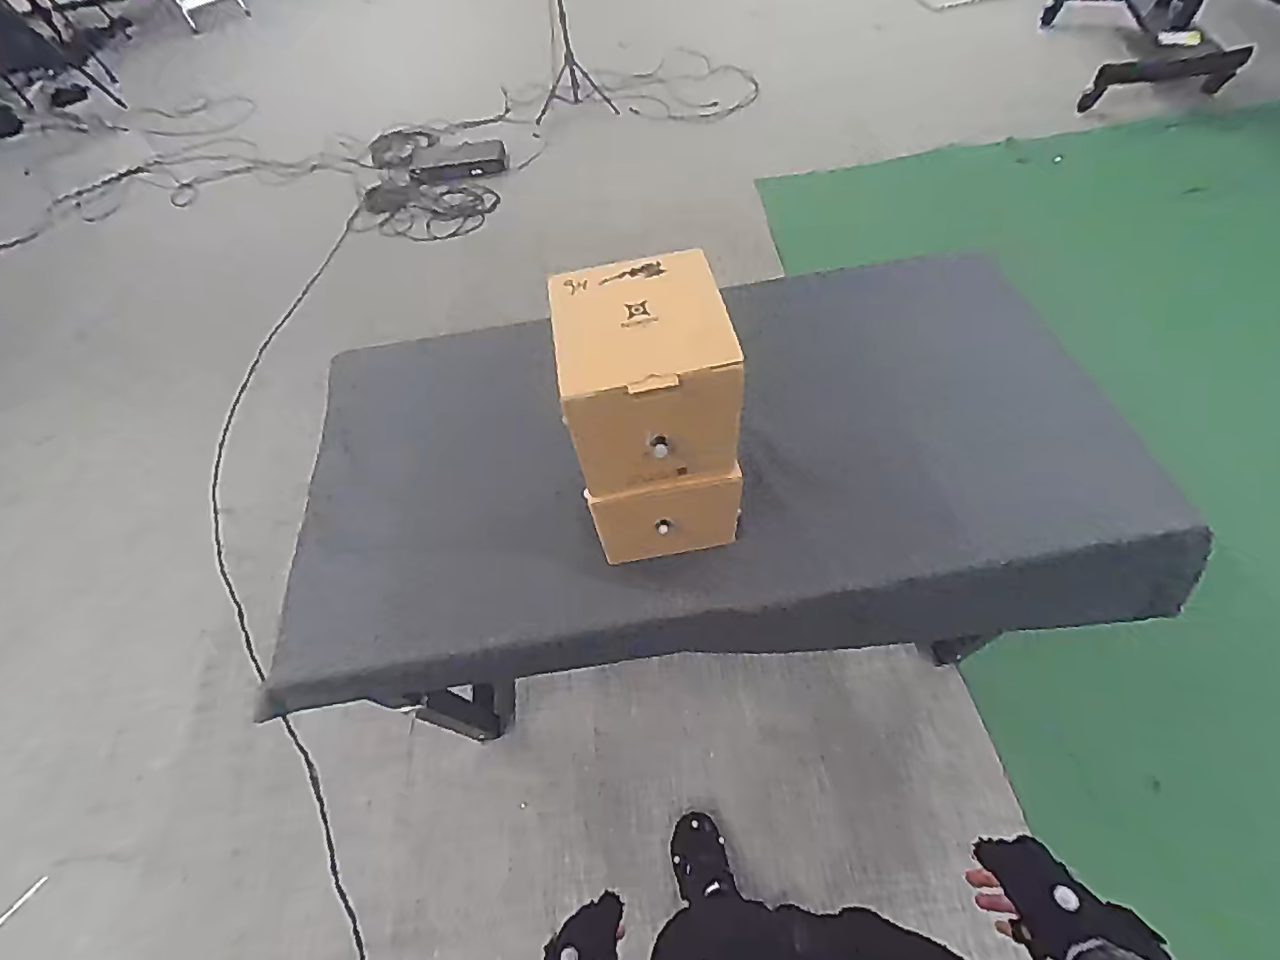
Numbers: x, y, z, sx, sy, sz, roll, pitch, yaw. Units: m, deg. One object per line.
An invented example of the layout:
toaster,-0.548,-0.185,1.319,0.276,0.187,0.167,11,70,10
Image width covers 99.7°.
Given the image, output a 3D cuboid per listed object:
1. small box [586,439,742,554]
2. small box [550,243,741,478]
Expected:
small box,0.025,-0.020,0.711,0.179,0.176,0.168,-10,57,0
small box,0.006,-0.116,0.581,0.168,0.176,0.179,-10,58,0
